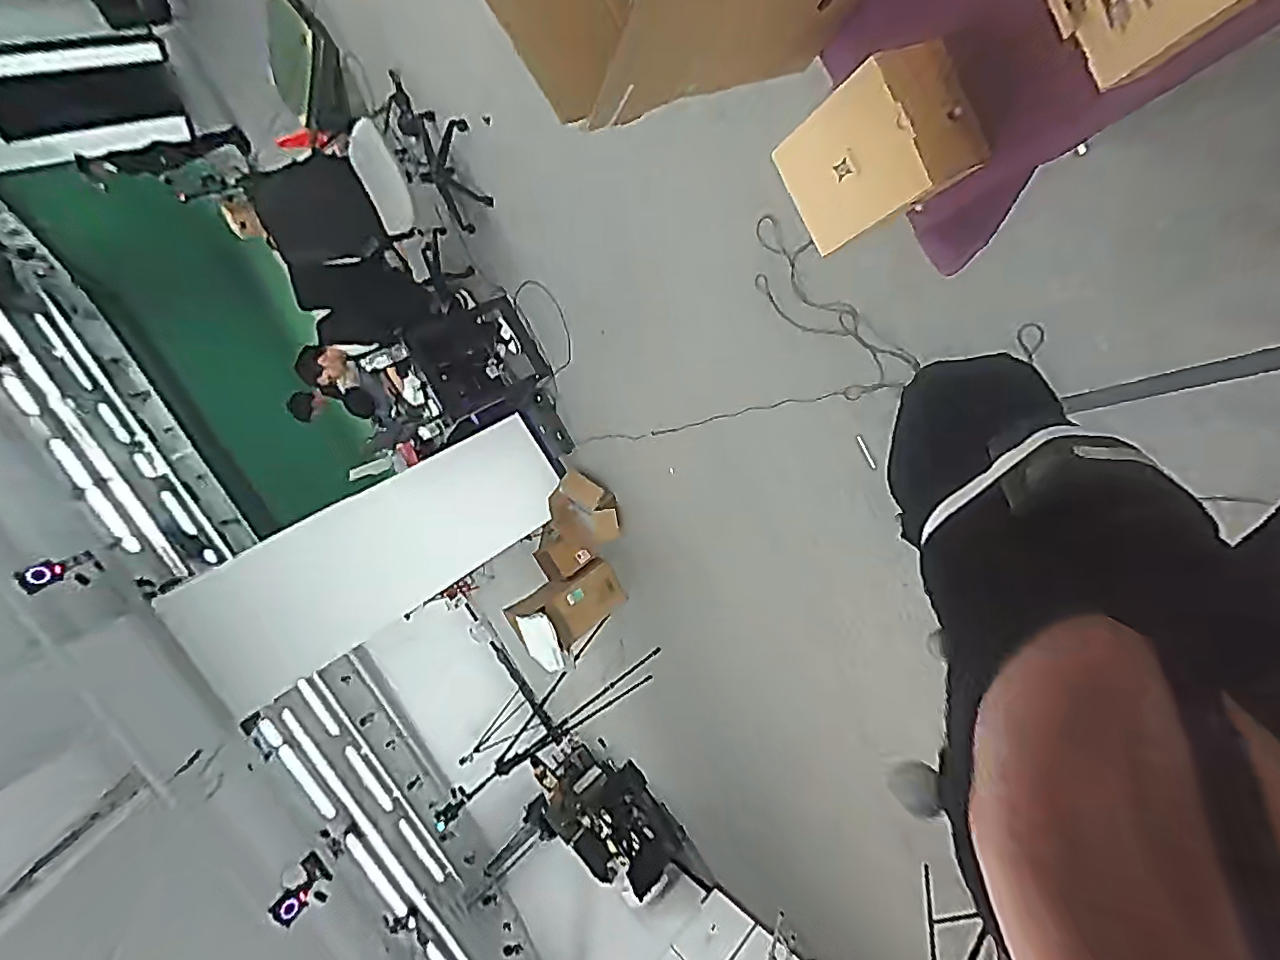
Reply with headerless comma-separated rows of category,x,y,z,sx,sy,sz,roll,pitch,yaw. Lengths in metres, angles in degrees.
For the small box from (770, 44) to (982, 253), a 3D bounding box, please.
small box,0.321,-0.447,0.741,0.168,0.176,0.179,60,150,-7
